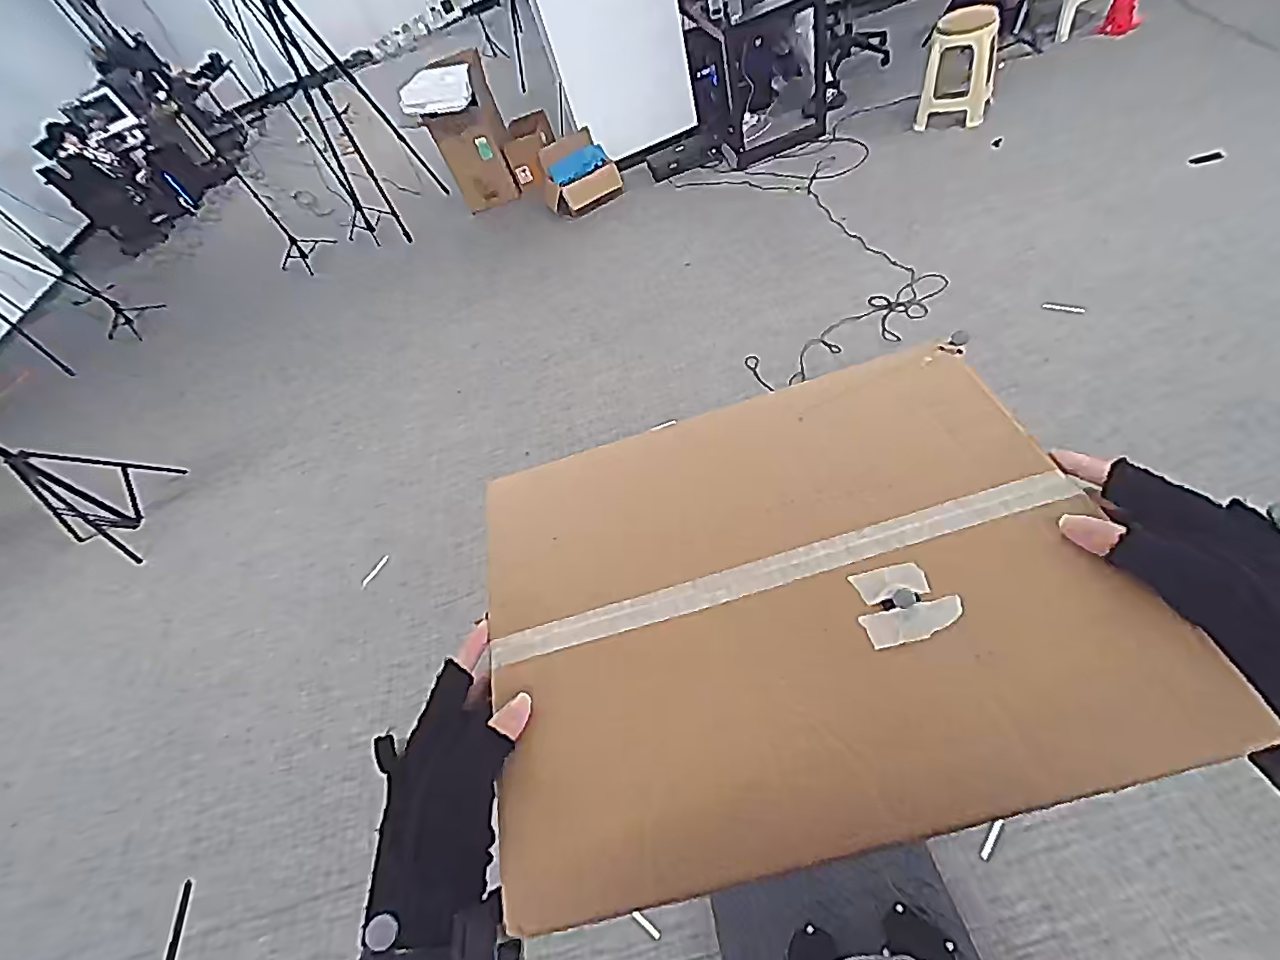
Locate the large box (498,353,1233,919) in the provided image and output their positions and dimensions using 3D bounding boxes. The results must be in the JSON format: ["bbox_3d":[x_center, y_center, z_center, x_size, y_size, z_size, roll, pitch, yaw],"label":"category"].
[{"bbox_3d":[0.125,0.151,0.499,0.408,0.320,0.320,-17,54,3],"label":"large box"}]
